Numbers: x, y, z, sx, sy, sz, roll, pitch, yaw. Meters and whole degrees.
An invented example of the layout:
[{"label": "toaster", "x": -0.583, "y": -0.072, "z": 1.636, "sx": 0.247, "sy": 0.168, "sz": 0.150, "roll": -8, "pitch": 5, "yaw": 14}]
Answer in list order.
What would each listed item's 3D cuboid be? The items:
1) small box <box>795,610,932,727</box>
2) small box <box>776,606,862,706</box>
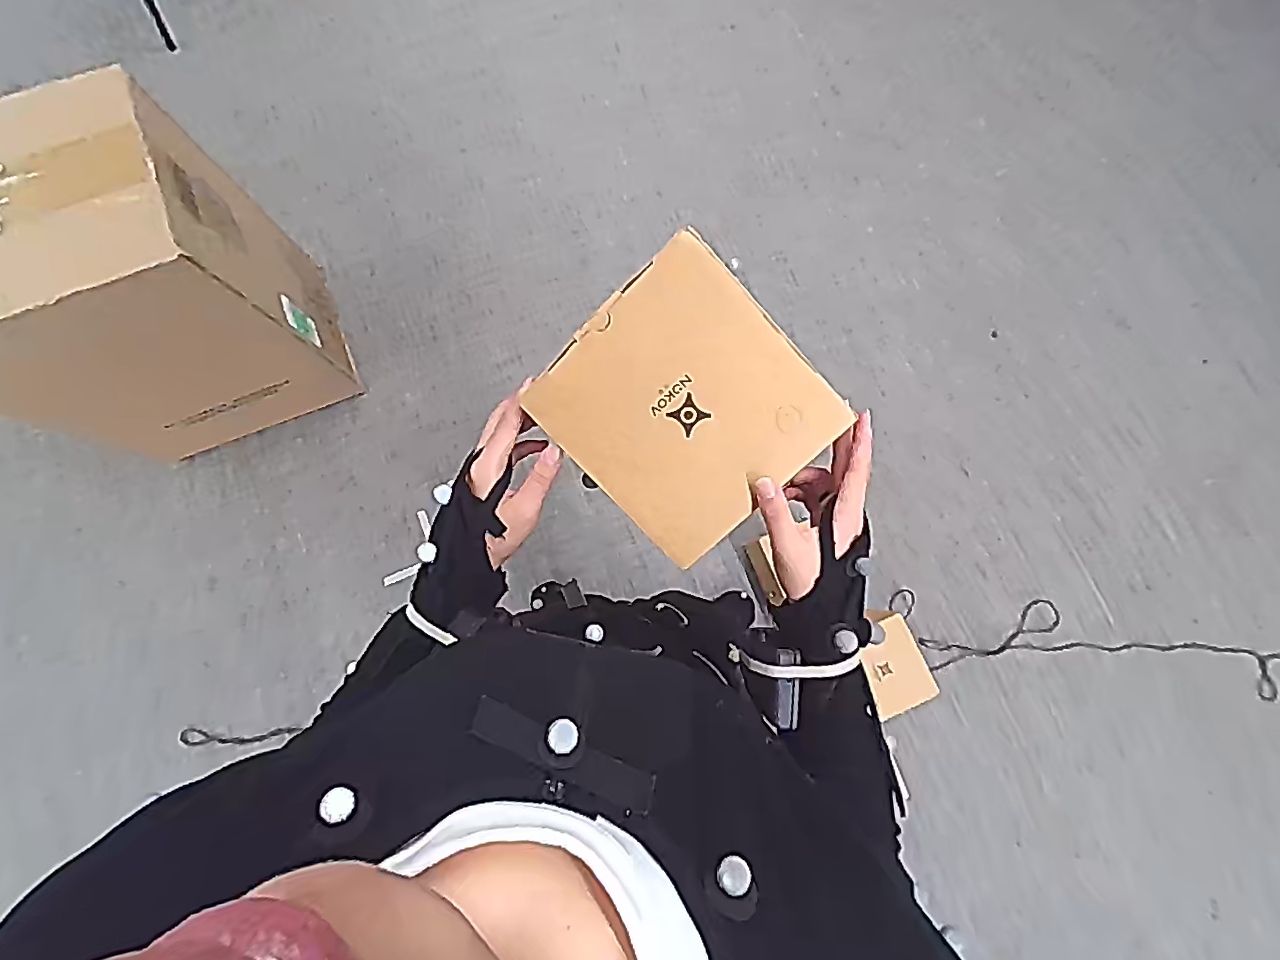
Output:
[{"label": "small box", "x": 0.451, "y": 0.378, "z": 1.119, "sx": 0.179, "sy": 0.176, "sz": 0.168, "roll": -22, "pitch": 80, "yaw": -4}, {"label": "small box", "x": 0.449, "y": 0.407, "z": 1.281, "sx": 0.179, "sy": 0.176, "sz": 0.168, "roll": -21, "pitch": 80, "yaw": -4}]
